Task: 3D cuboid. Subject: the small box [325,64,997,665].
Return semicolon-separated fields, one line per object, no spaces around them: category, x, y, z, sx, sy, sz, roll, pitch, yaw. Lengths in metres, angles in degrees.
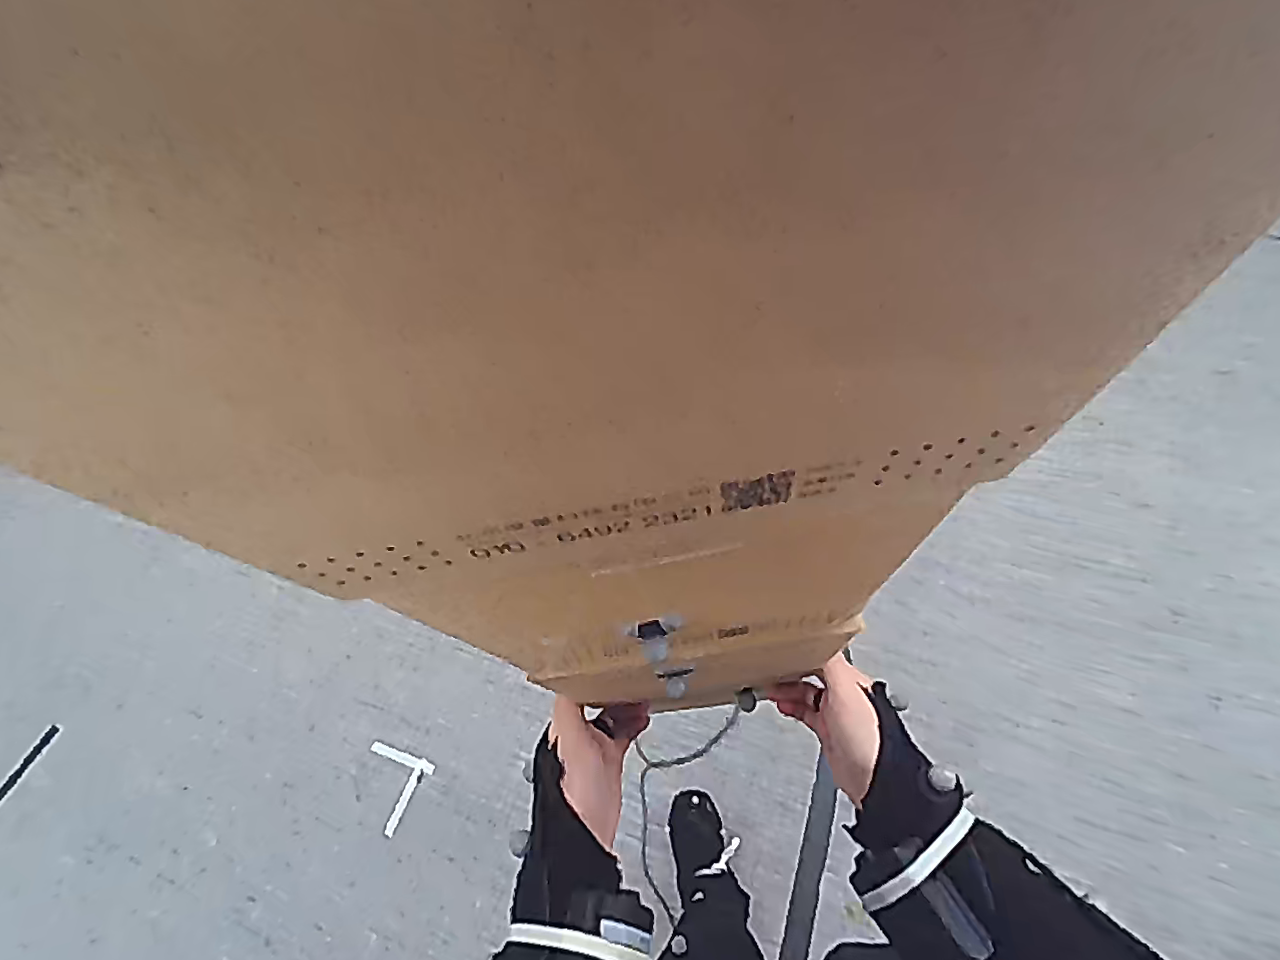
small box;0.002;-0.032;0.238;0.168;0.176;0.179;-11;62;3

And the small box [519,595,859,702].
small box;0.025;0.051;0.376;0.179;0.176;0.168;-10;62;3
